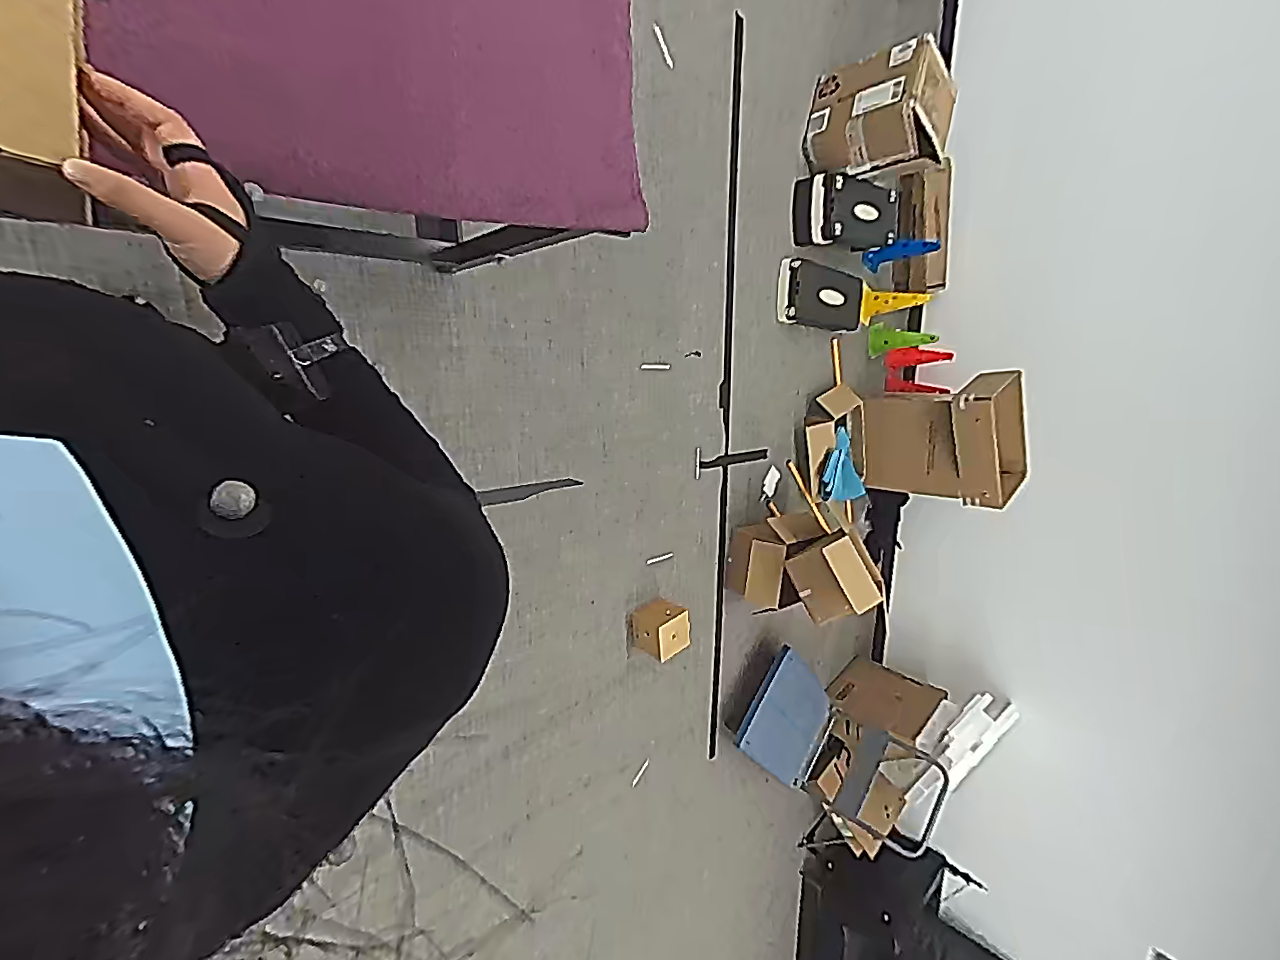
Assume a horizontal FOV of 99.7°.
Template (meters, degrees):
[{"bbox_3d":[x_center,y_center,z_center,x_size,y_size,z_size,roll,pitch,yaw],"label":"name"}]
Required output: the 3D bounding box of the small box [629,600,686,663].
[{"bbox_3d":[0.068,0.625,2.248,0.179,0.176,0.168,-19,113,-40],"label":"small box"}]
